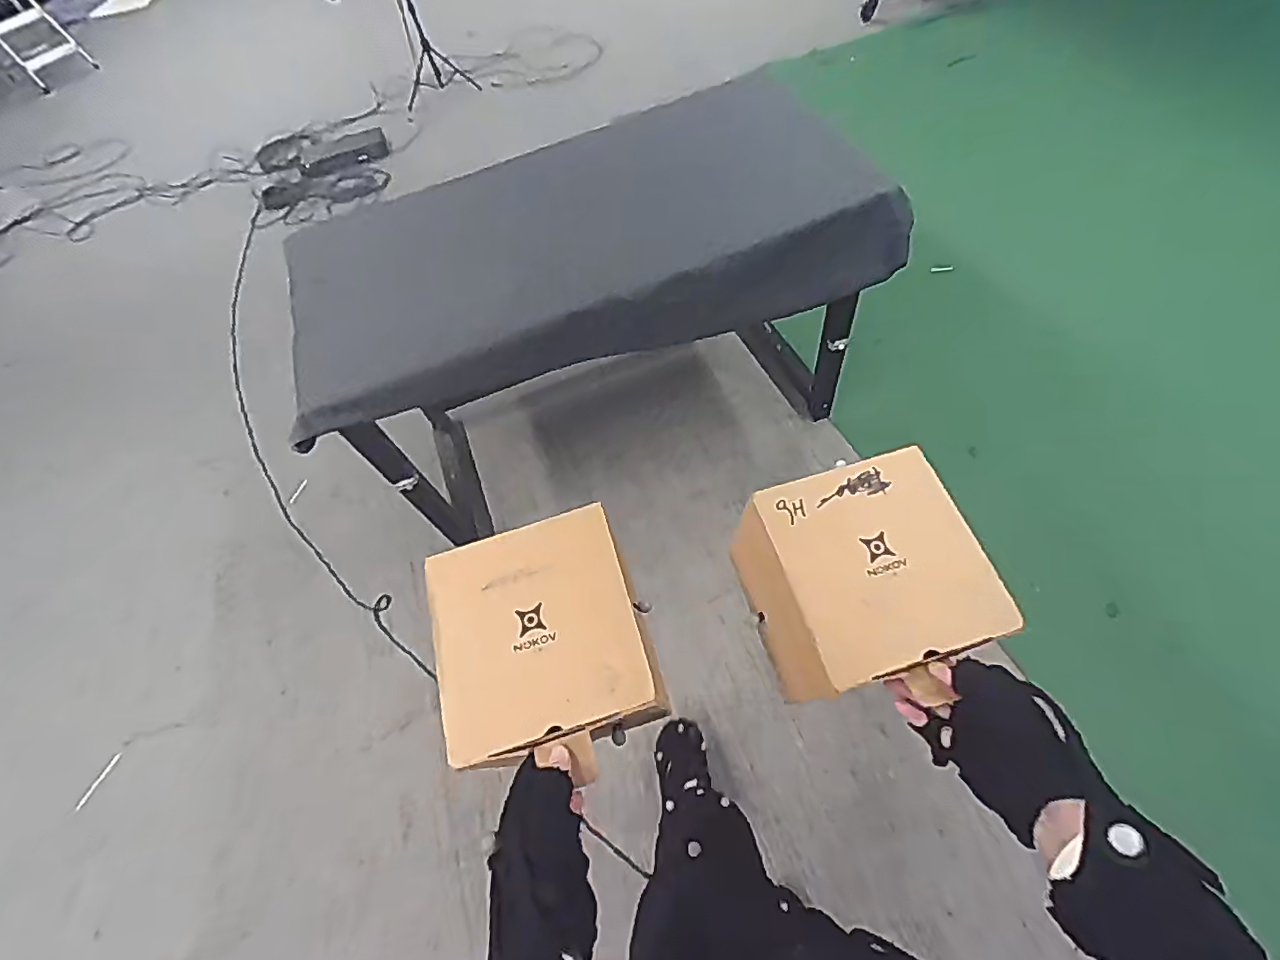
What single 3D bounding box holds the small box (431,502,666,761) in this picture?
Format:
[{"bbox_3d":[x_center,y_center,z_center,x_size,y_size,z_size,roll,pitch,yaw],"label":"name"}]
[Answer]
[{"bbox_3d":[-0.078,0.152,0.521,0.168,0.176,0.179,-18,62,-3],"label":"small box"}]
